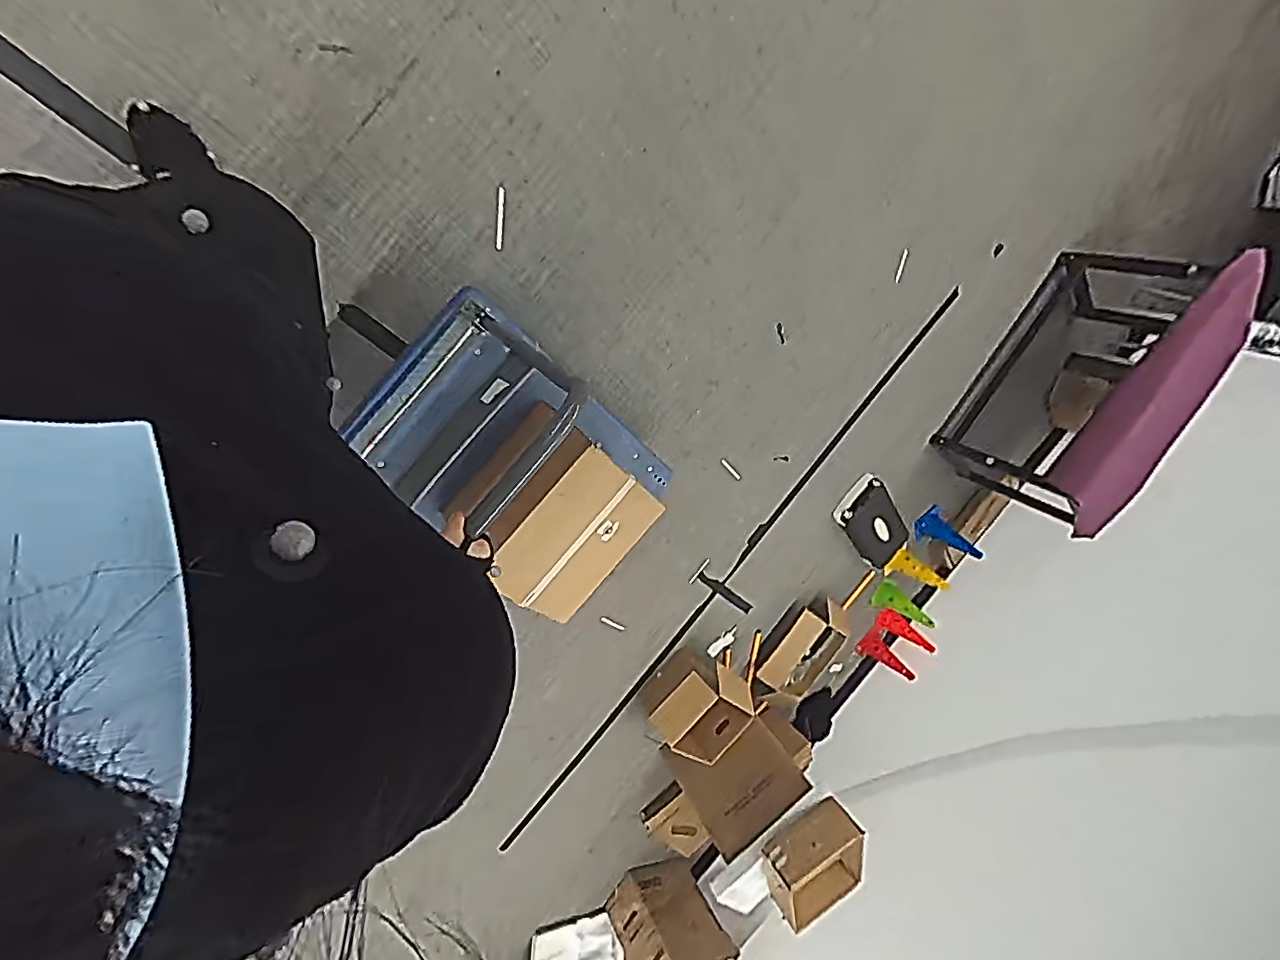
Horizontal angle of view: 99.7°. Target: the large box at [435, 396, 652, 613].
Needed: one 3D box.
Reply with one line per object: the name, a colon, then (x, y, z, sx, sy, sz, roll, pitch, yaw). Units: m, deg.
large box: (-0.256, 0.059, 1.406, 0.408, 0.320, 0.320, -50, 132, -2)
